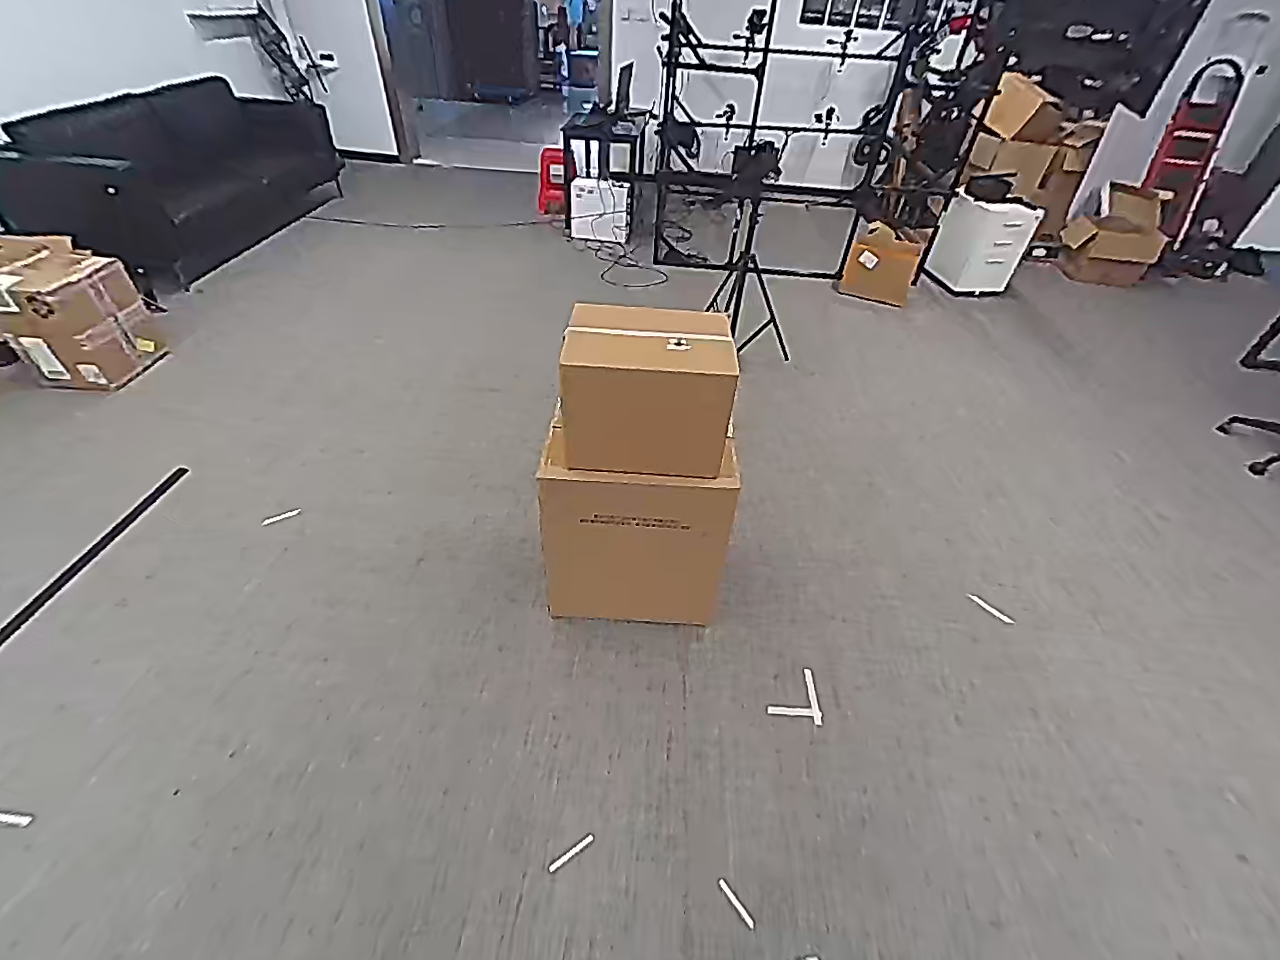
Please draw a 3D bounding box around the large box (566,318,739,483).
[{"bbox_3d":[0.020,-0.208,1.427,0.408,0.320,0.320,4,42,-2],"label":"large box"}]
